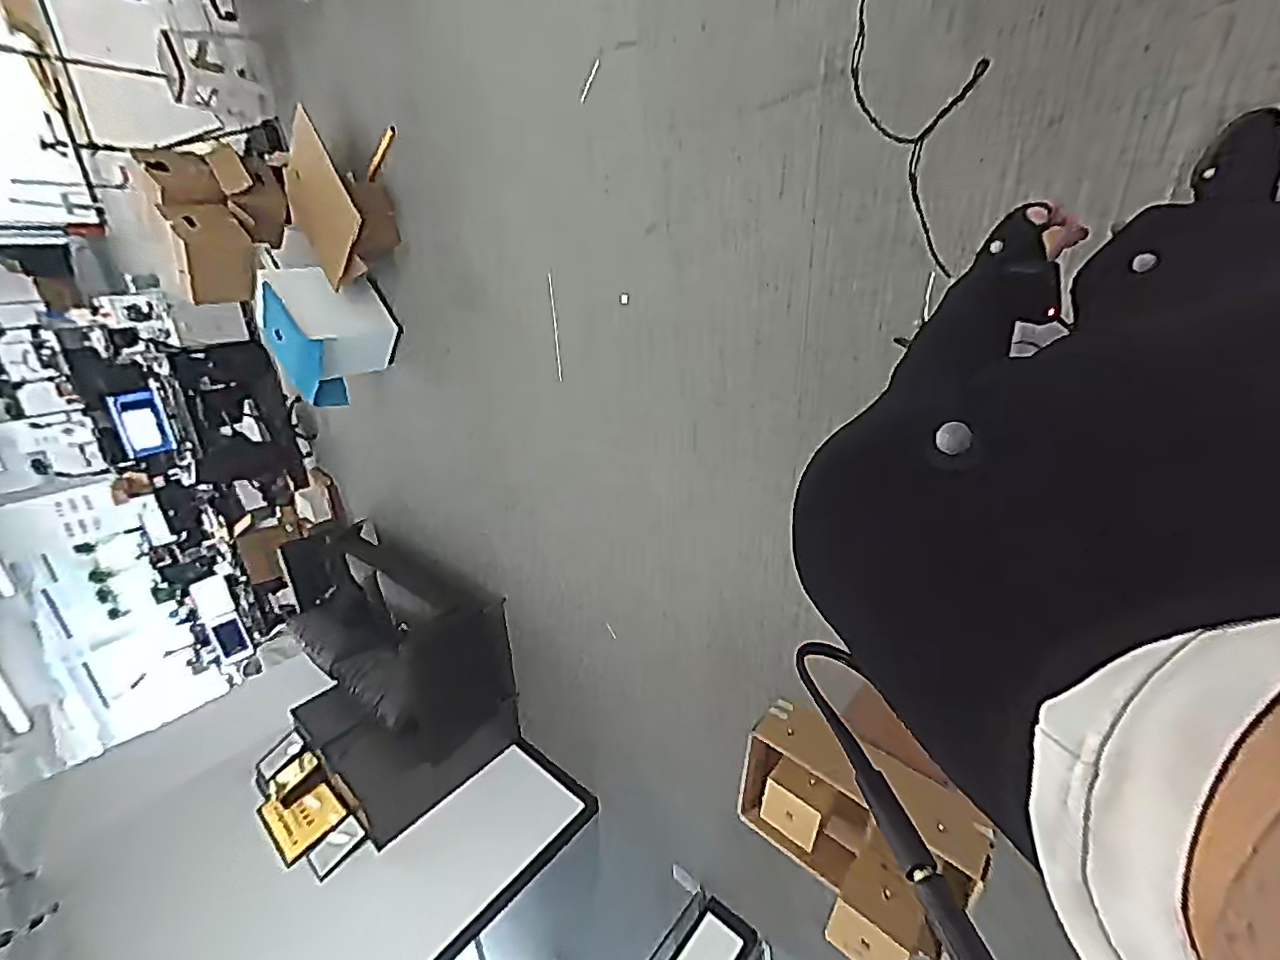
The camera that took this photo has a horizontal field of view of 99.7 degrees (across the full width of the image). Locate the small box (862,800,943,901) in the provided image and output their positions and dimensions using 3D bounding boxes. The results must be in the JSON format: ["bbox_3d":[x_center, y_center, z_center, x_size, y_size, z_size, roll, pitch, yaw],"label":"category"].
[{"bbox_3d":[0.688,1.015,1.448,0.168,0.176,0.179,24,123,33],"label":"small box"}]

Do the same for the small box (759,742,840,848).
[{"bbox_3d":[0.479,0.927,1.610,0.168,0.176,0.179,22,122,35],"label":"small box"}]

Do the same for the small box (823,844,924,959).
[{"bbox_3d":[0.578,1.058,1.333,0.168,0.176,0.179,23,123,36],"label":"small box"}]
